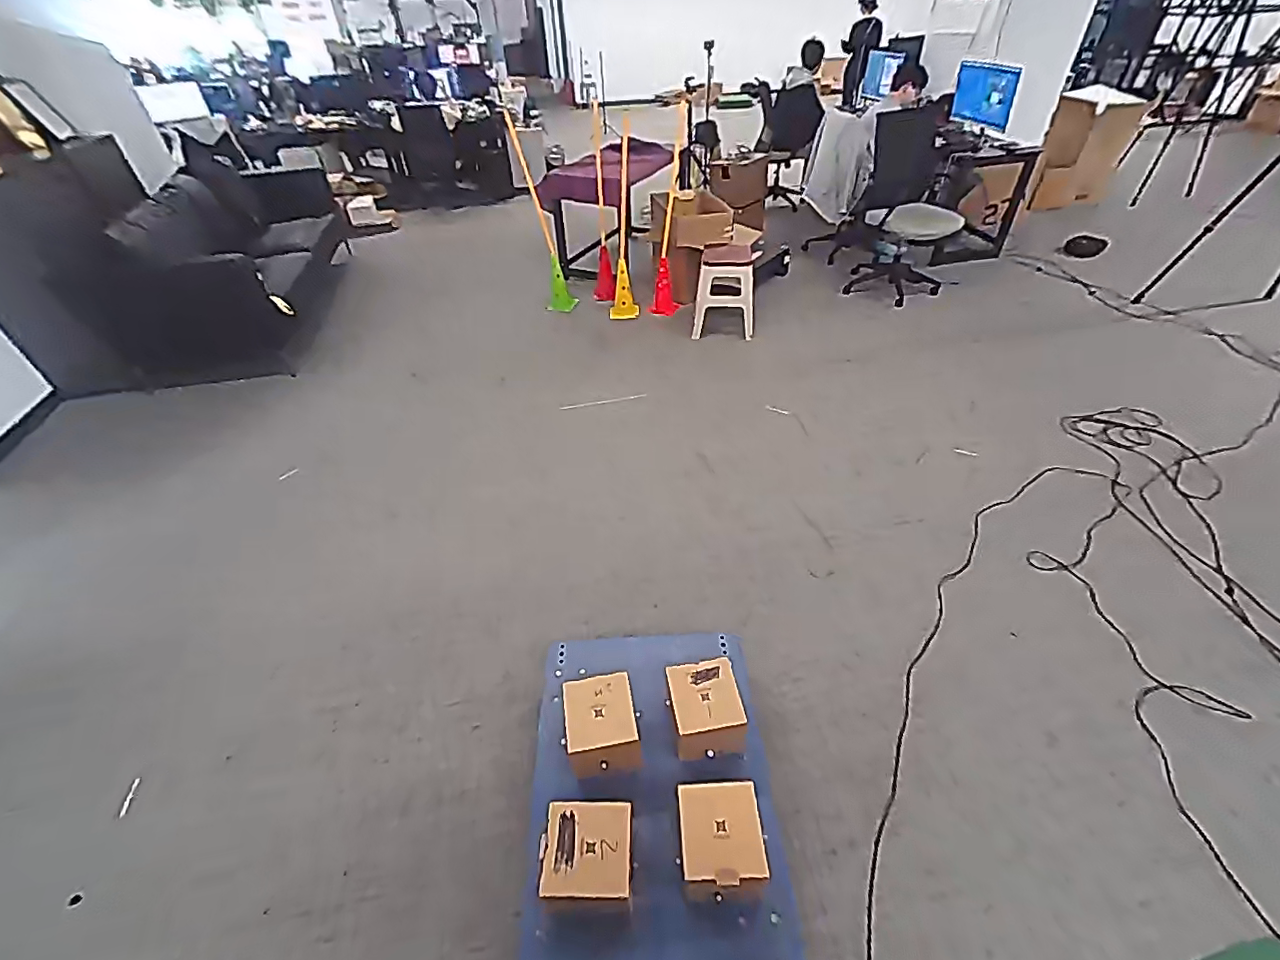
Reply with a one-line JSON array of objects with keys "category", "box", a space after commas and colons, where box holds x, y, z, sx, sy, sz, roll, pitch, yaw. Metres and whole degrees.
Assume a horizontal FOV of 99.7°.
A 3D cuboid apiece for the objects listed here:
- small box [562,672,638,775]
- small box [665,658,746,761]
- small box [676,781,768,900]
[{"category": "small box", "box": [-0.099, 0.612, 1.348, 0.168, 0.176, 0.179, -7, 42, -7]}, {"category": "small box", "box": [0.158, 0.582, 1.372, 0.168, 0.176, 0.179, -8, 43, -5]}, {"category": "small box", "box": [0.167, 0.773, 1.160, 0.168, 0.176, 0.179, -3, 43, -1]}]
